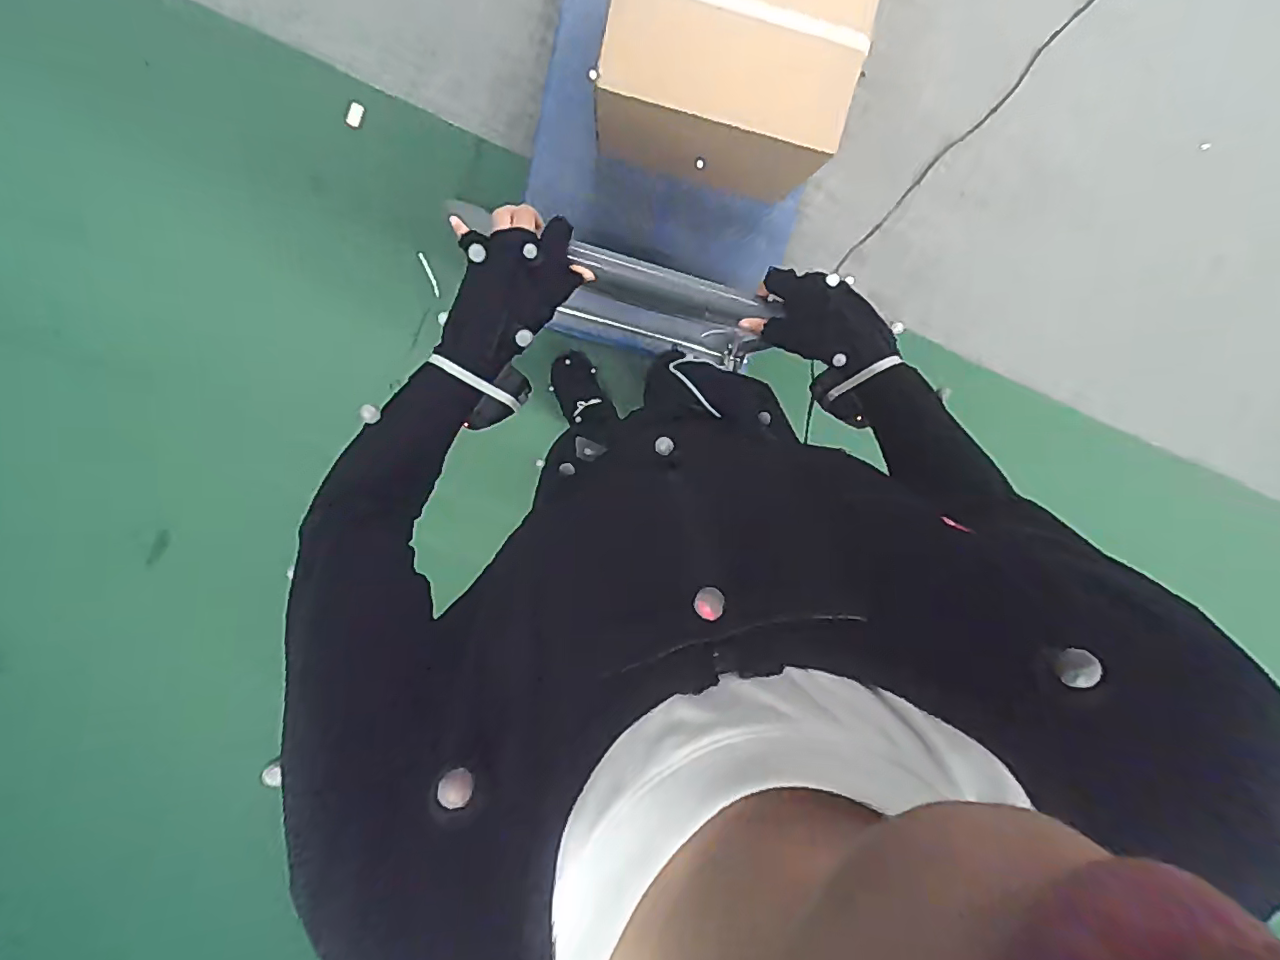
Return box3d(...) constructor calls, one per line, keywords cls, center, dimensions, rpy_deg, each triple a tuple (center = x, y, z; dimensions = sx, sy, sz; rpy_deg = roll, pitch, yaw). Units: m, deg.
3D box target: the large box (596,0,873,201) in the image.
box3d(cls="large box", center=(0.149, -0.749, 0.984), dimensions=(0.408, 0.320, 0.320), rpy_deg=(12, 101, -5))
